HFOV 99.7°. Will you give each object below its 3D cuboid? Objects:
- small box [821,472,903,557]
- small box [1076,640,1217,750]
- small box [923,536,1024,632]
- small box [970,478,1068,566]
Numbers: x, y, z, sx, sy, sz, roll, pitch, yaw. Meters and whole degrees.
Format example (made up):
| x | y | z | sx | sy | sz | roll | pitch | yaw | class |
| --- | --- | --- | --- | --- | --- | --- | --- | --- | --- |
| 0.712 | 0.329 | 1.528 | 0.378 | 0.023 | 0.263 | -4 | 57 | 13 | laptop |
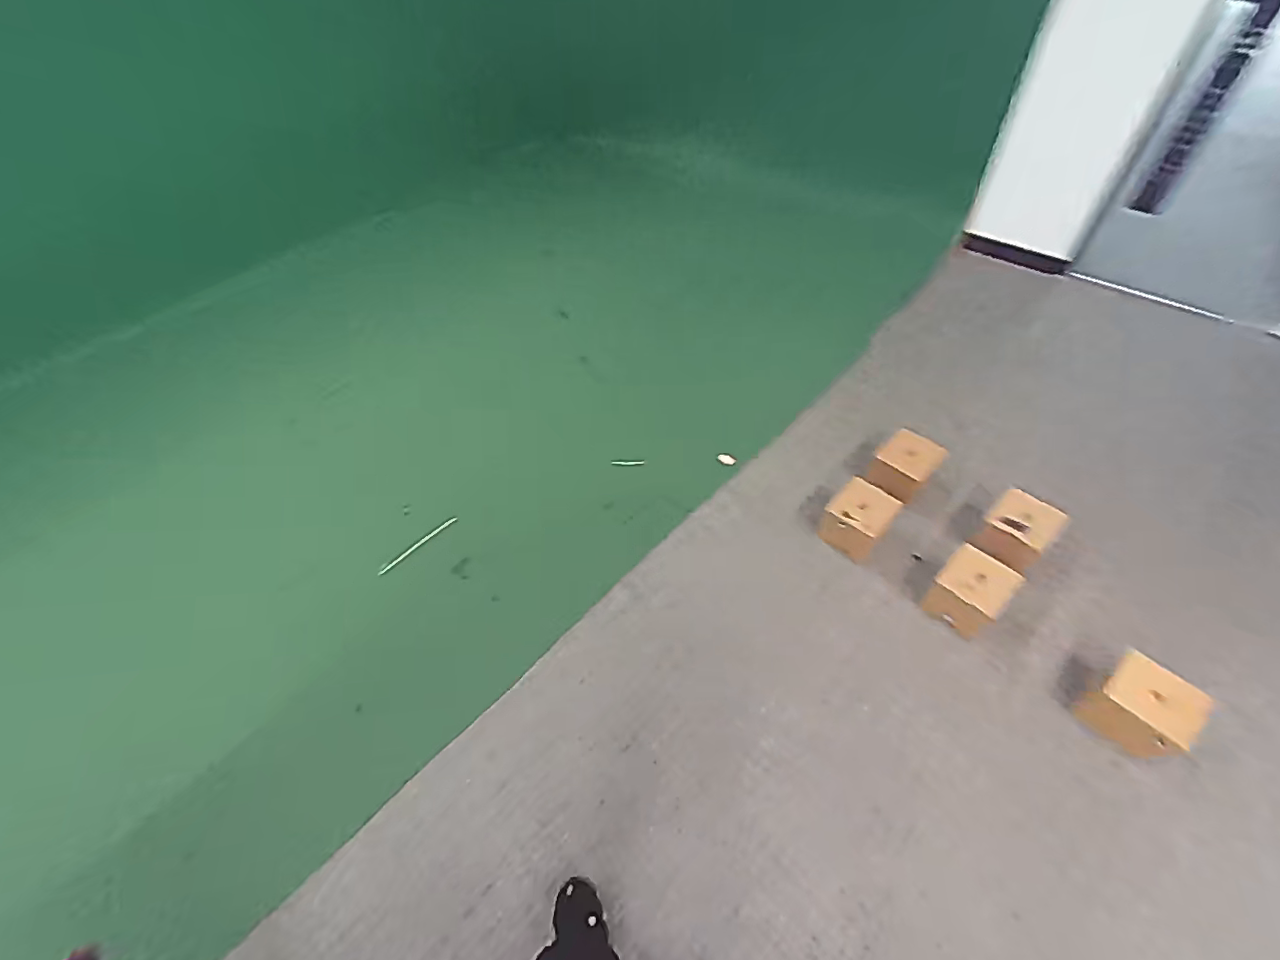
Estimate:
| x | y | z | sx | sy | sz | roll | pitch | yaw | class |
| --- | --- | --- | --- | --- | --- | --- | --- | --- | --- |
| 0.704 | 0.112 | 1.738 | 0.179 | 0.176 | 0.168 | -40 | 58 | -22 | small box |
| 1.244 | 0.539 | 1.343 | 0.168 | 0.176 | 0.179 | -40 | 59 | -20 | small box |
| 0.952 | 0.301 | 1.560 | 0.179 | 0.176 | 0.168 | -40 | 58 | -21 | small box |
| 1.151 | 0.135 | 1.658 | 0.179 | 0.176 | 0.168 | -39 | 58 | -21 | small box |
